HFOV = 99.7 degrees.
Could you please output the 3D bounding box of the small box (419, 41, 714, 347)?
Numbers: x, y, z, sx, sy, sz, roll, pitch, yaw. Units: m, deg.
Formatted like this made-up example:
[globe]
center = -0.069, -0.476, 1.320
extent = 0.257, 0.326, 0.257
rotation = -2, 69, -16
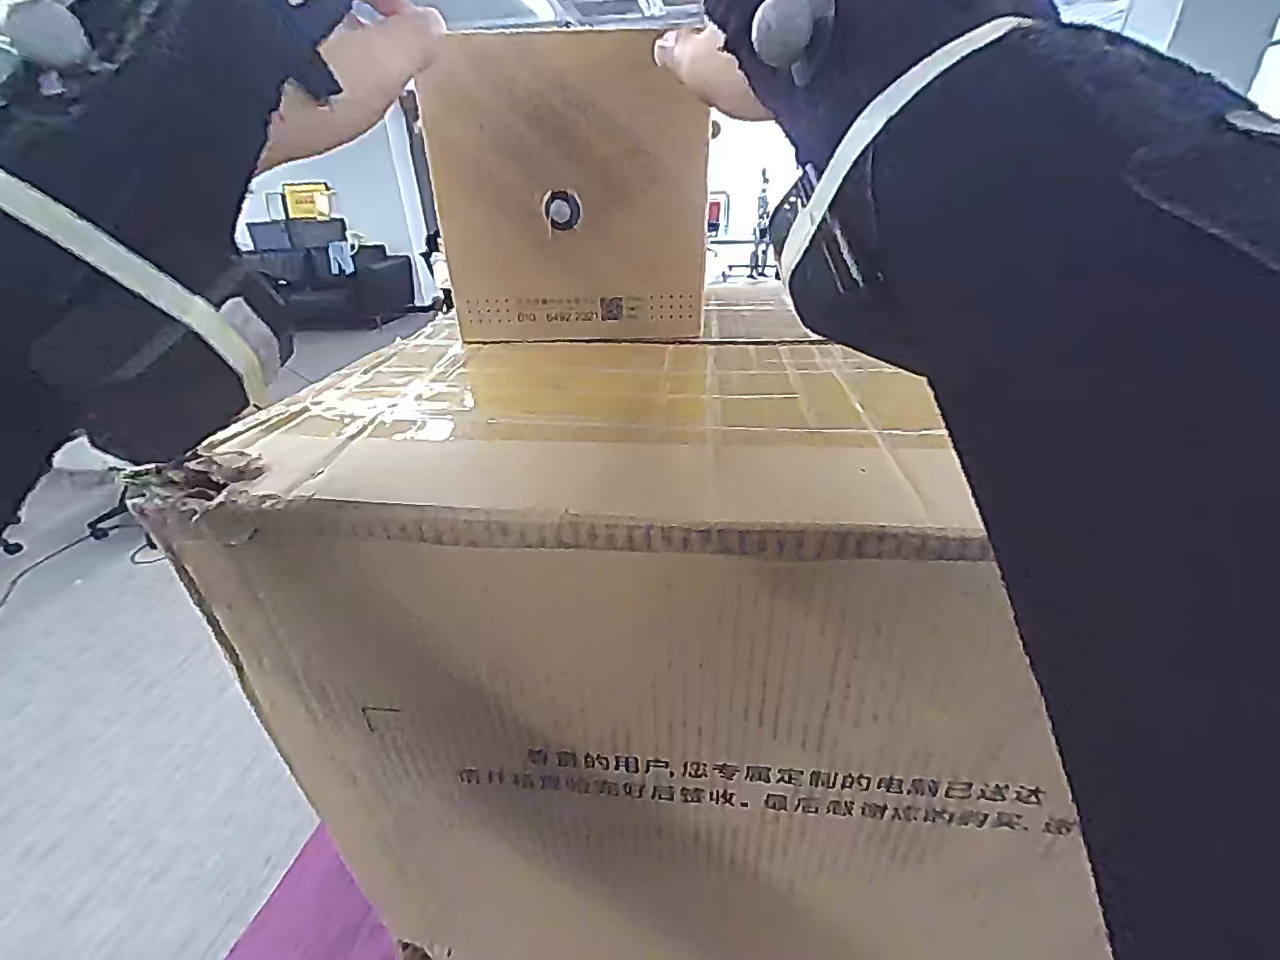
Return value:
[small box]
center = -0.037, -0.201, 0.401
extent = 0.168, 0.176, 0.179
rotation = 0, 29, 0
